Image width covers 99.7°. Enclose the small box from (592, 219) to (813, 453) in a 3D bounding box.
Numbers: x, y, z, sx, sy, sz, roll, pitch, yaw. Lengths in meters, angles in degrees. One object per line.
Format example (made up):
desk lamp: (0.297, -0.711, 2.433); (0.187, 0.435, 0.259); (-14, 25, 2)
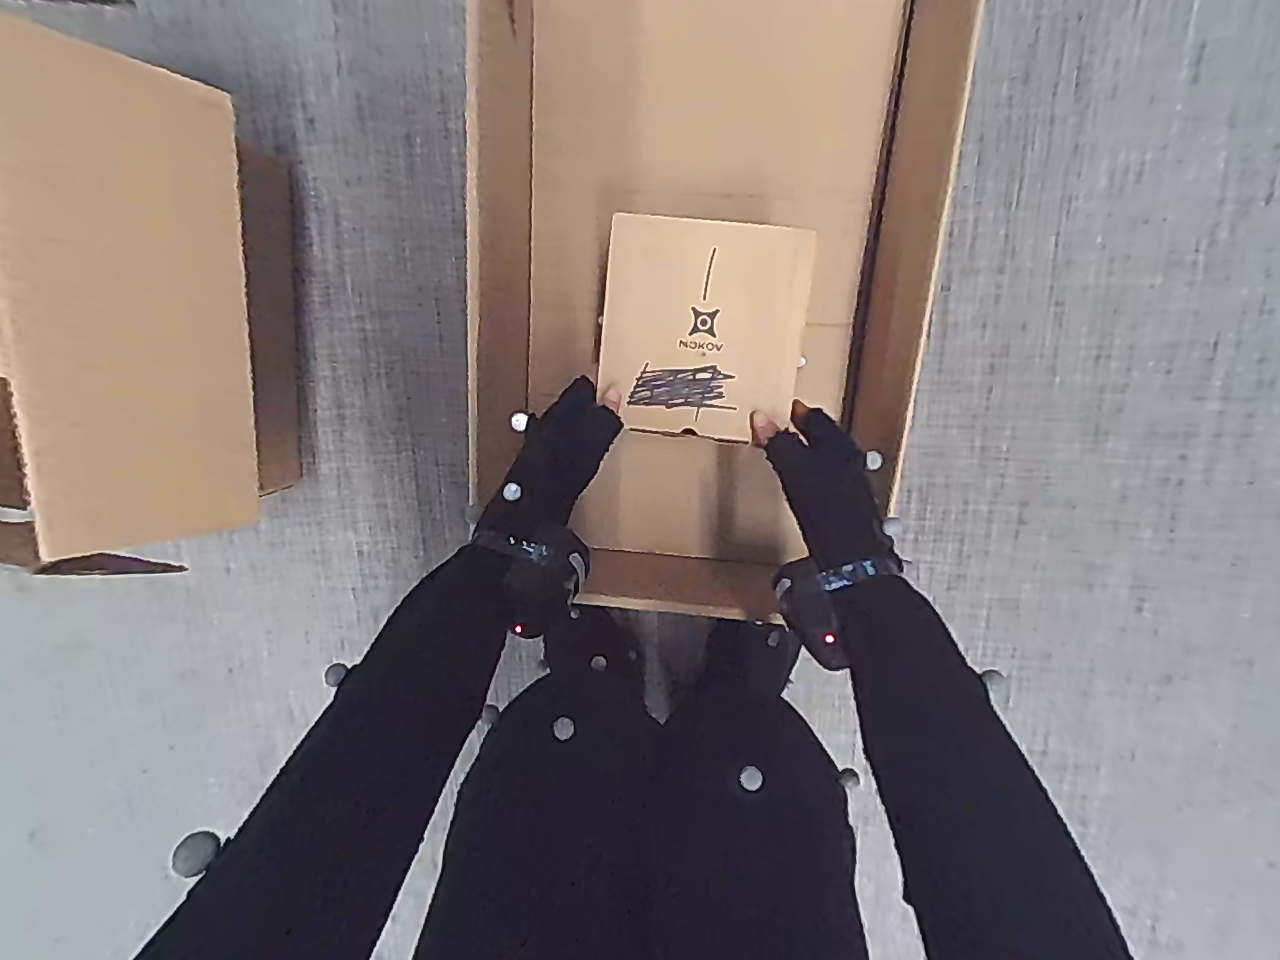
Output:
small box: (0.055, -0.132, 0.526); (0.168, 0.176, 0.179); (7, 100, 4)
